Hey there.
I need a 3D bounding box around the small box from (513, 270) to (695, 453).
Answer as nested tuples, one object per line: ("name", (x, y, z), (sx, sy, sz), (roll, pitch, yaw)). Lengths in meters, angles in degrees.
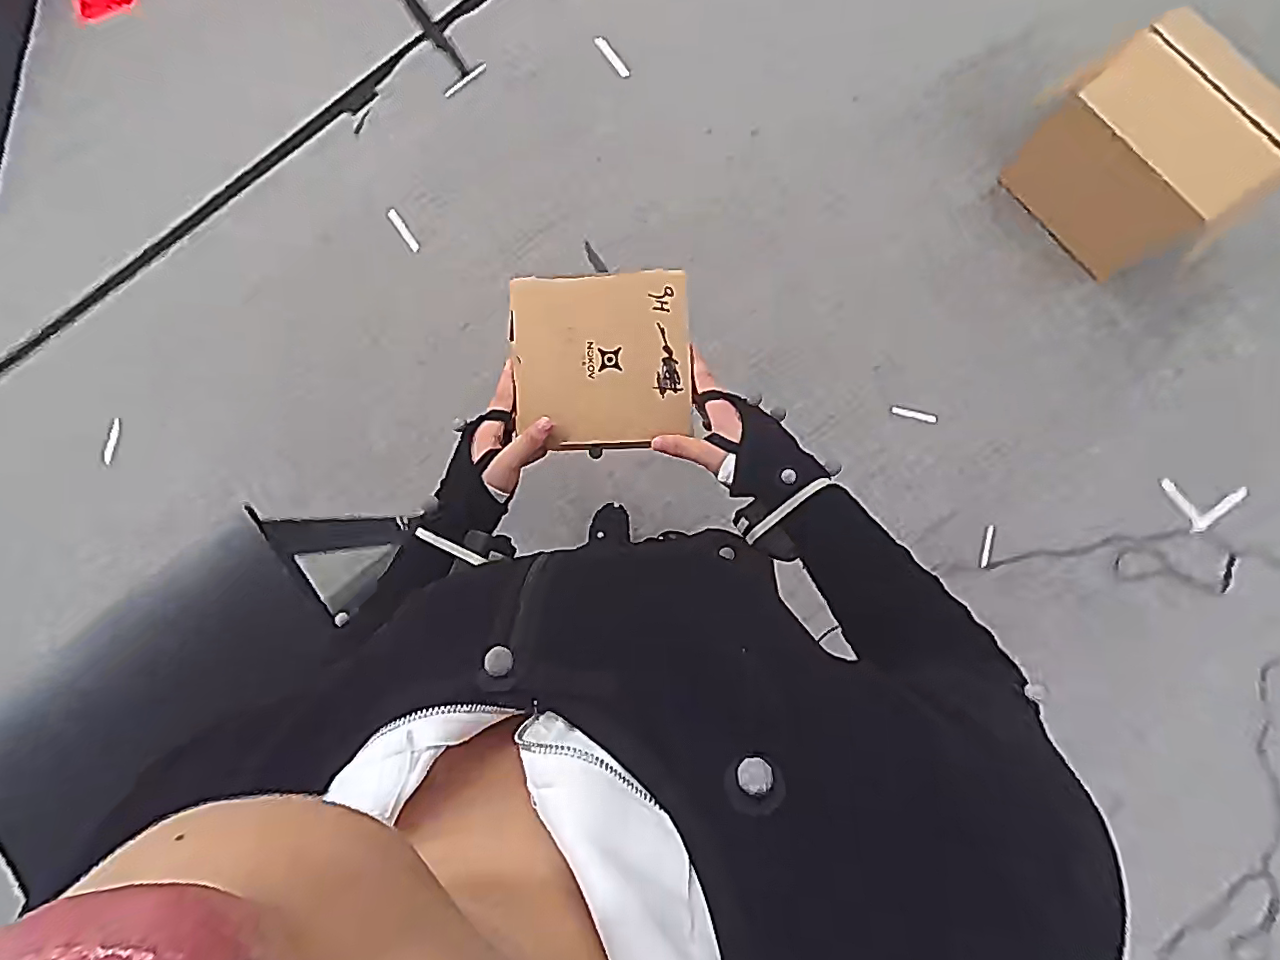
("small box", (-0.031, -0.117, 0.595), (0.179, 0.176, 0.168), (0, 90, 2))
